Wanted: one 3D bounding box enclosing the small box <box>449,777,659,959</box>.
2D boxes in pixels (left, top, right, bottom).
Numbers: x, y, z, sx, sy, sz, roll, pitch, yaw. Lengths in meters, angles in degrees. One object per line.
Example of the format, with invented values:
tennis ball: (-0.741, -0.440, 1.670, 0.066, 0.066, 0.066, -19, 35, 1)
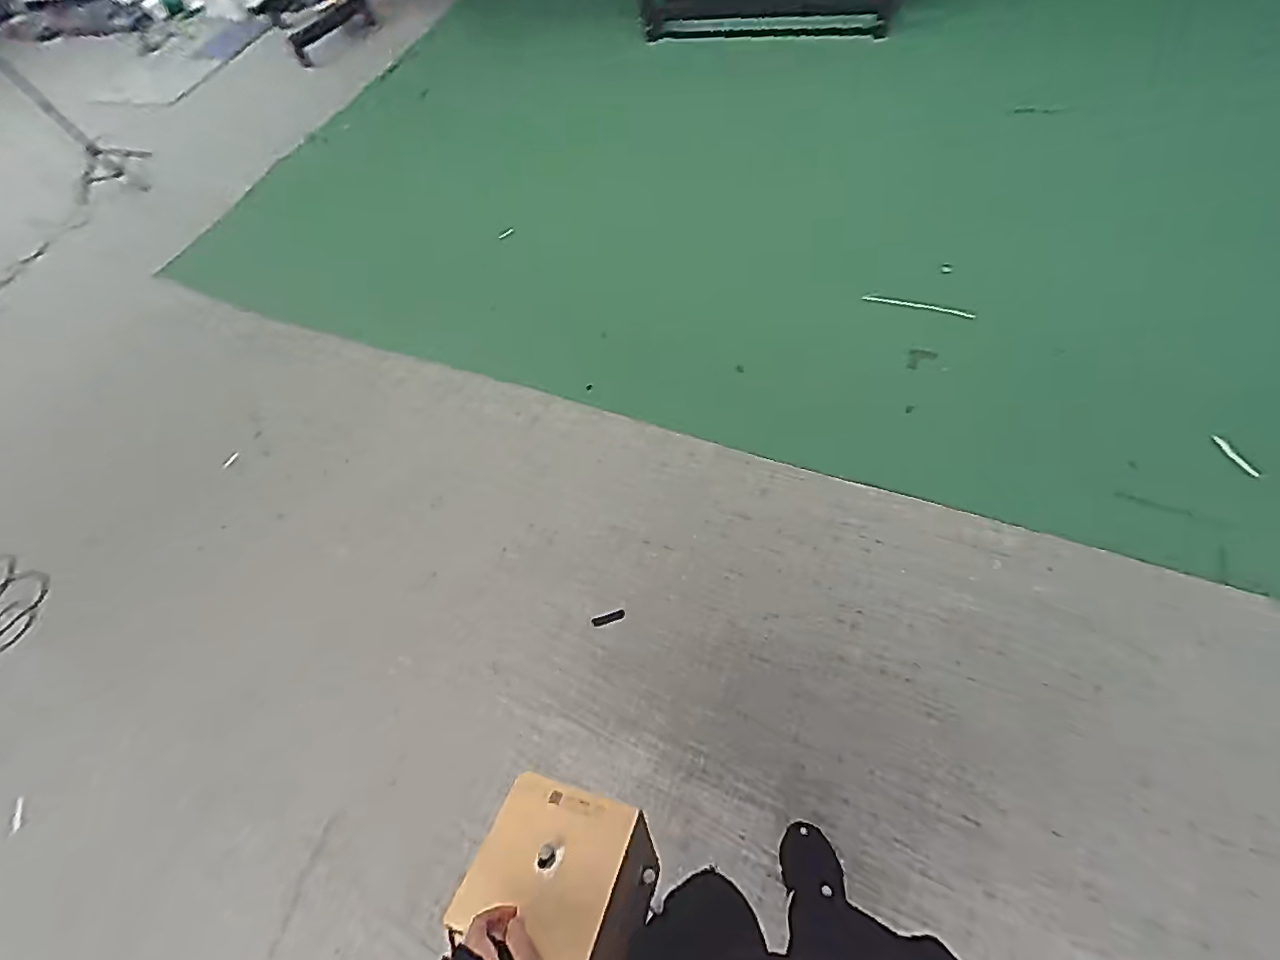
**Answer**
small box: (-0.086, 0.487, 0.641, 0.168, 0.179, 0.176, 3, 37, 21)
